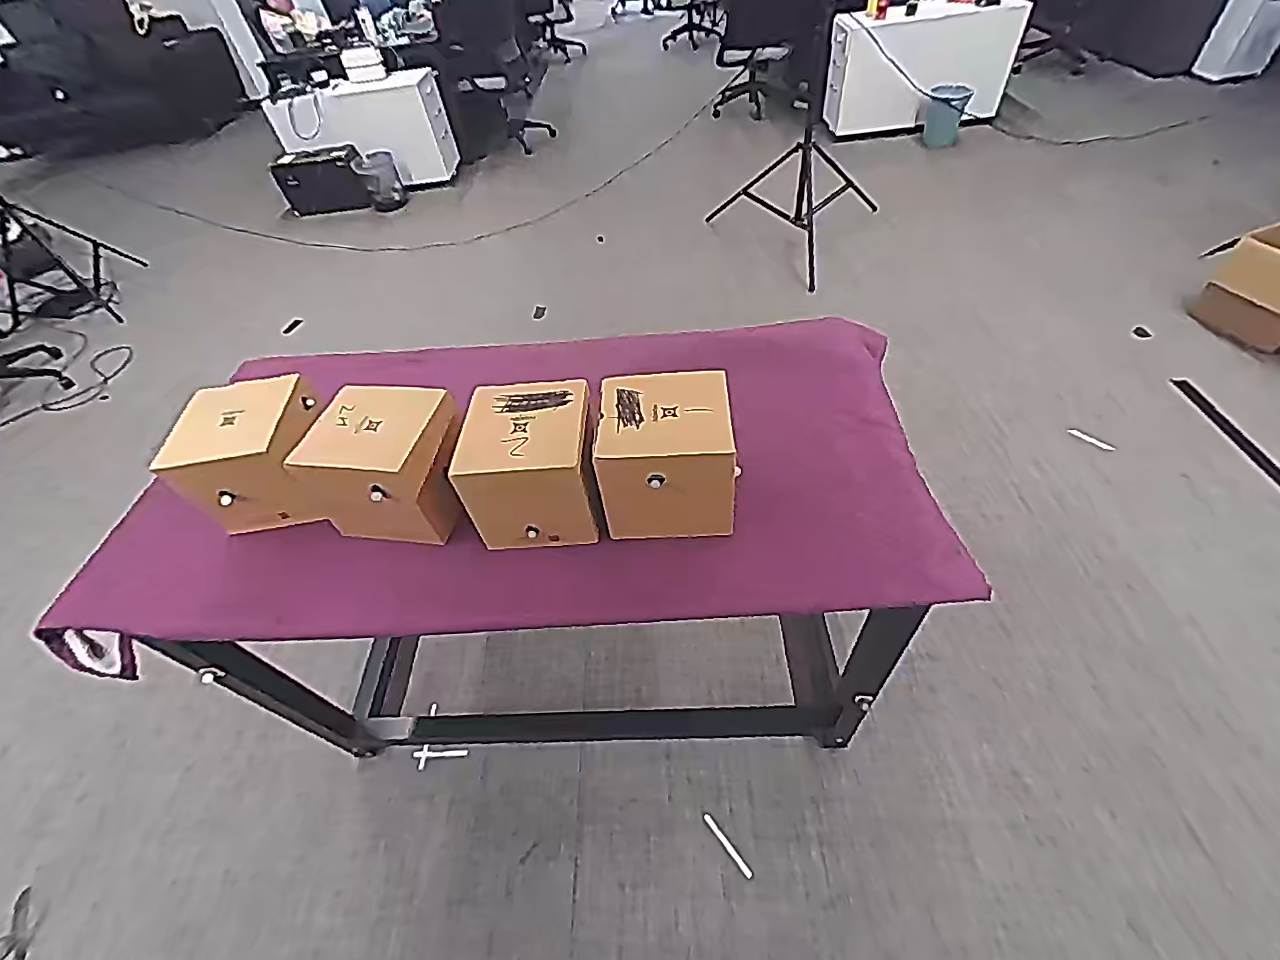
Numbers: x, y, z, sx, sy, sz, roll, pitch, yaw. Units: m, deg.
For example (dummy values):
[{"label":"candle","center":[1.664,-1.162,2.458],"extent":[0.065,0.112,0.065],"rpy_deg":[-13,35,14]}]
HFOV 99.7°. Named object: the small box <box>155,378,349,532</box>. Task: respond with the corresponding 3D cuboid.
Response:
[{"label":"small box","center":[-0.598,-0.033,0.865],"extent":[0.168,0.176,0.179],"rpy_deg":[-10,49,-1]}]
